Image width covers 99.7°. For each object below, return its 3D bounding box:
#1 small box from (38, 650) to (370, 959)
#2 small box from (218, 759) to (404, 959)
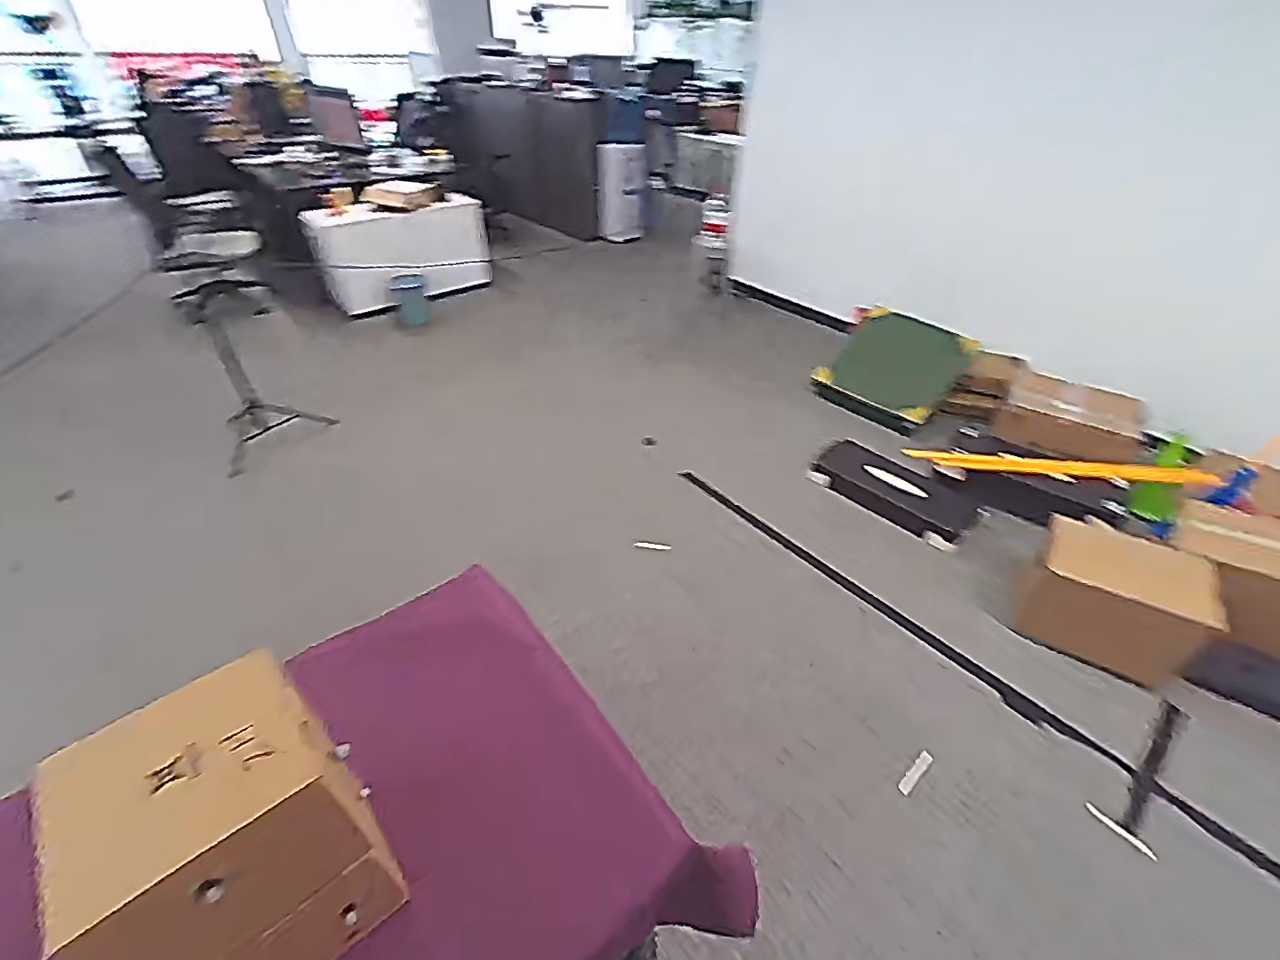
[{"bbox_3d":[-0.384,0.304,0.498,0.179,0.176,0.168,-28,49,-32],"label":"small box"},{"bbox_3d":[-0.390,0.429,0.605,0.168,0.176,0.179,-28,47,-31],"label":"small box"}]
